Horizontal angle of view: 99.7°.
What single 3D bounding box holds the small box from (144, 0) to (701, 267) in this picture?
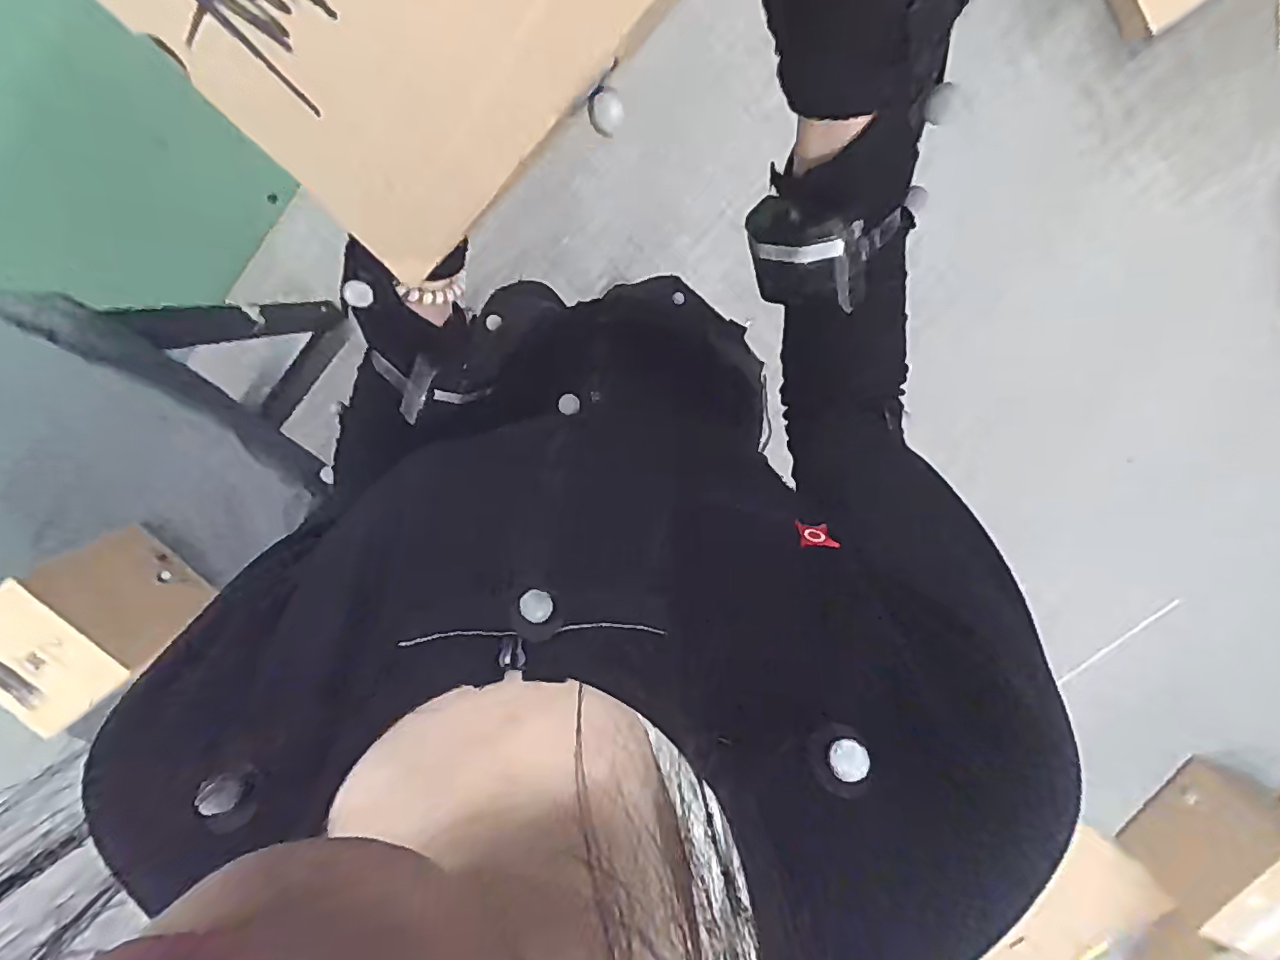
[{"bbox_3d":[-0.044,-0.205,0.150,0.179,0.176,0.168,-21,127,41],"label":"small box"}]
